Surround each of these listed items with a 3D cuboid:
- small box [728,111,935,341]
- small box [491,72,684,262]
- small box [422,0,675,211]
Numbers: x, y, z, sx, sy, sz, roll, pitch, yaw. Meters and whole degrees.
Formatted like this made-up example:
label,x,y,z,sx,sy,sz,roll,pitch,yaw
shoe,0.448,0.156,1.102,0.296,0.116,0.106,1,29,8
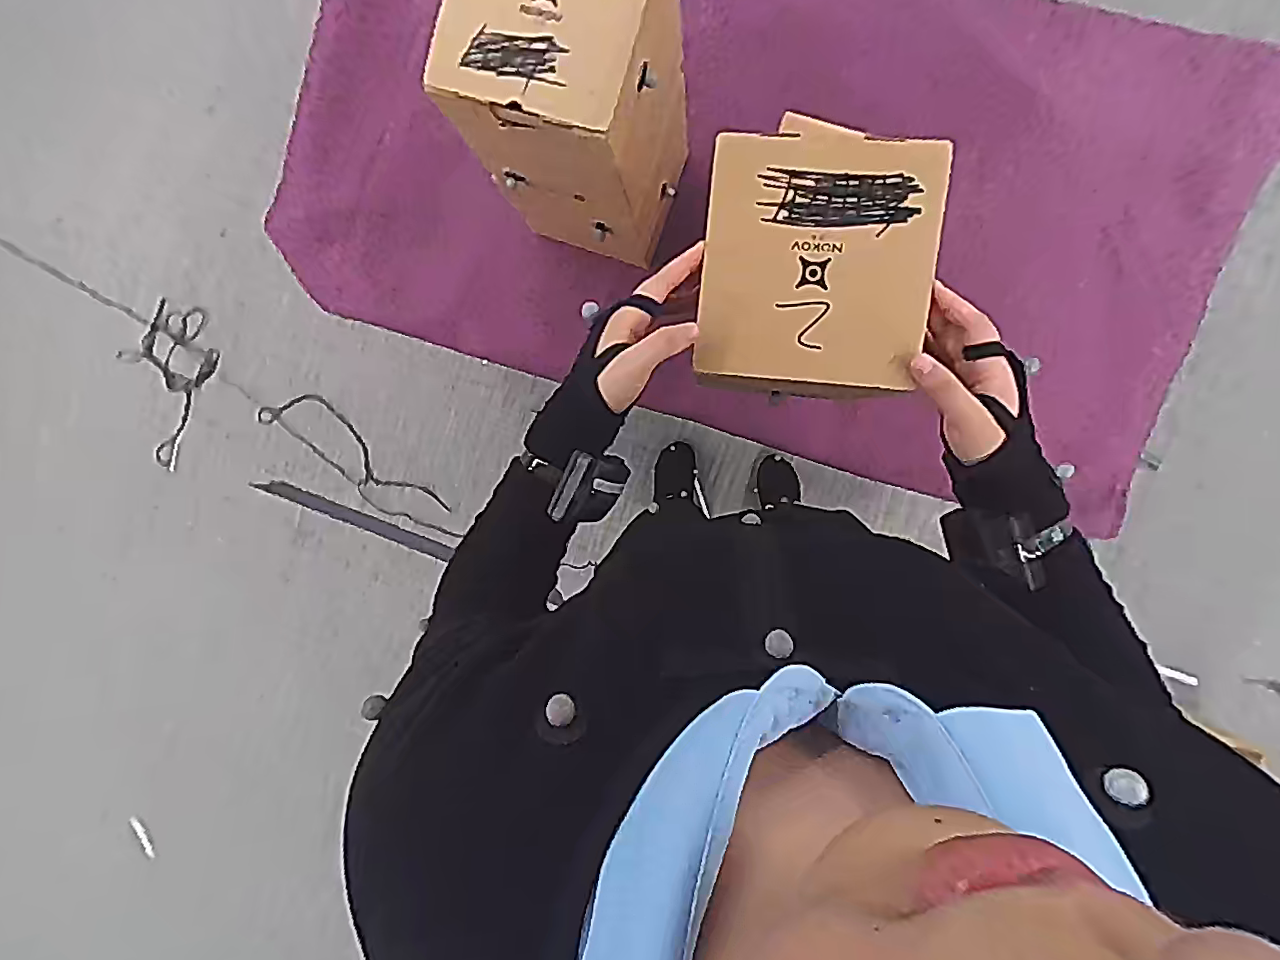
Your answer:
label,x,y,z,sx,sy,sz,roll,pitch,yaw
small box,0.209,-0.285,0.647,0.168,0.176,0.179,20,96,5
small box,-0.051,-0.391,0.669,0.179,0.176,0.168,20,96,5
small box,-0.068,-0.385,0.506,0.168,0.176,0.179,18,96,5
